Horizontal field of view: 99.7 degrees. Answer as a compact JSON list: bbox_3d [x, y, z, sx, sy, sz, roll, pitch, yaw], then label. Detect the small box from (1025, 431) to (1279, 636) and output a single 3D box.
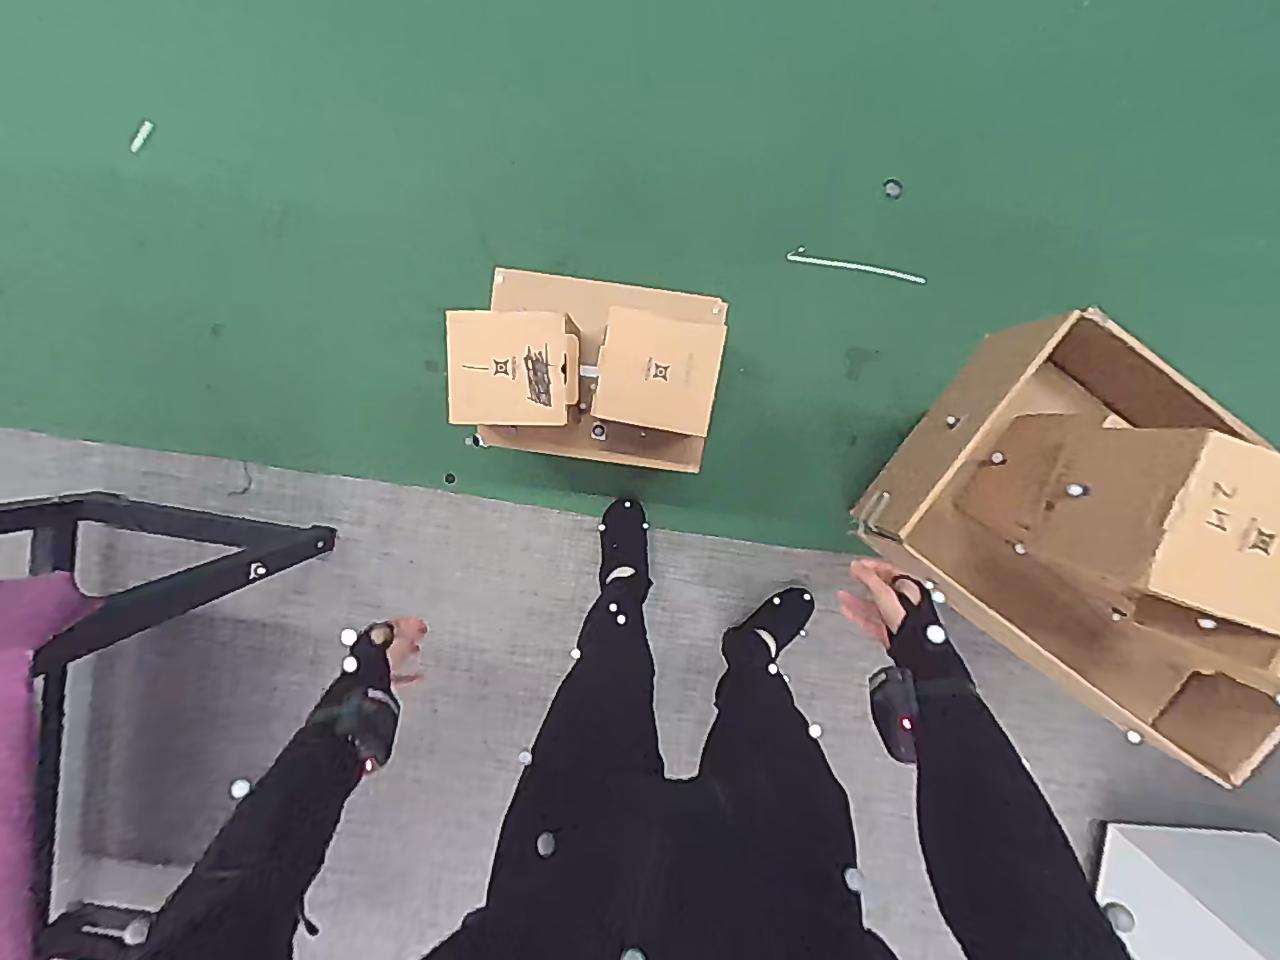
[{"bbox_3d":[0.595,0.046,0.606,0.179,0.176,0.168,19,95,-2],"label":"small box"}]
